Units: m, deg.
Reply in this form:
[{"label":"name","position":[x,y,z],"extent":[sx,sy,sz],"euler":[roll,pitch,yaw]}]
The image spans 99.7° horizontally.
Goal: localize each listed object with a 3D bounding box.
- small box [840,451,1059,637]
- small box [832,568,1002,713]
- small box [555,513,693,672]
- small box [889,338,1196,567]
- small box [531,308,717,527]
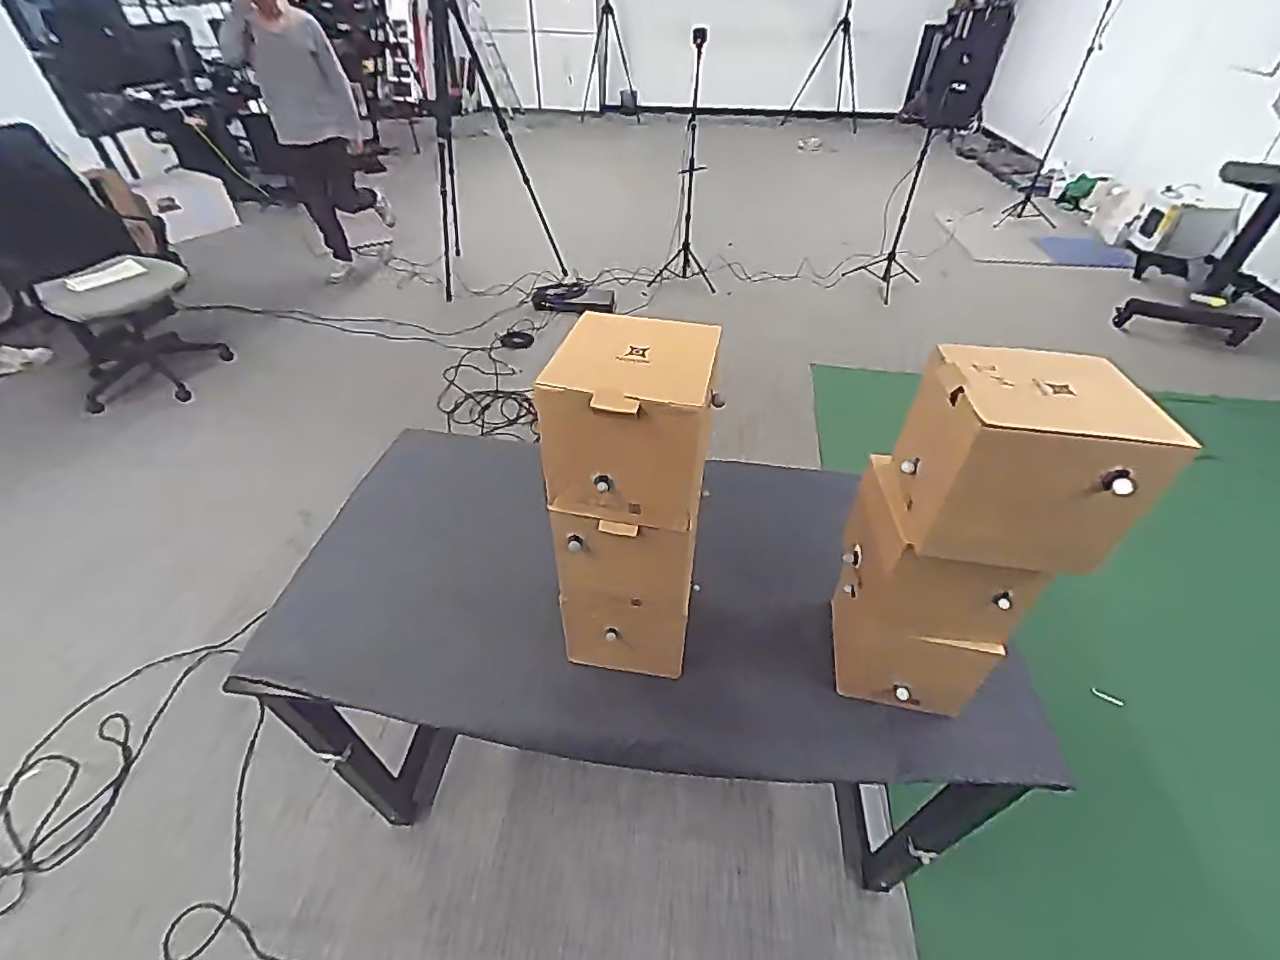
[{"label":"small box","position":[0.374,0.082,0.687],"extent":[0.179,0.176,0.168],"euler":[2,39,4]},{"label":"small box","position":[0.385,0.206,0.791],"extent":[0.168,0.176,0.179],"euler":[8,42,10]},{"label":"small box","position":[-0.016,0.174,0.830],"extent":[0.179,0.176,0.168],"euler":[6,42,7]},{"label":"small box","position":[0.385,-0.029,0.563],"extent":[0.179,0.176,0.168],"euler":[6,39,7]},{"label":"small box","position":[-0.012,-0.074,0.615],"extent":[0.168,0.176,0.179],"euler":[9,42,8]}]
